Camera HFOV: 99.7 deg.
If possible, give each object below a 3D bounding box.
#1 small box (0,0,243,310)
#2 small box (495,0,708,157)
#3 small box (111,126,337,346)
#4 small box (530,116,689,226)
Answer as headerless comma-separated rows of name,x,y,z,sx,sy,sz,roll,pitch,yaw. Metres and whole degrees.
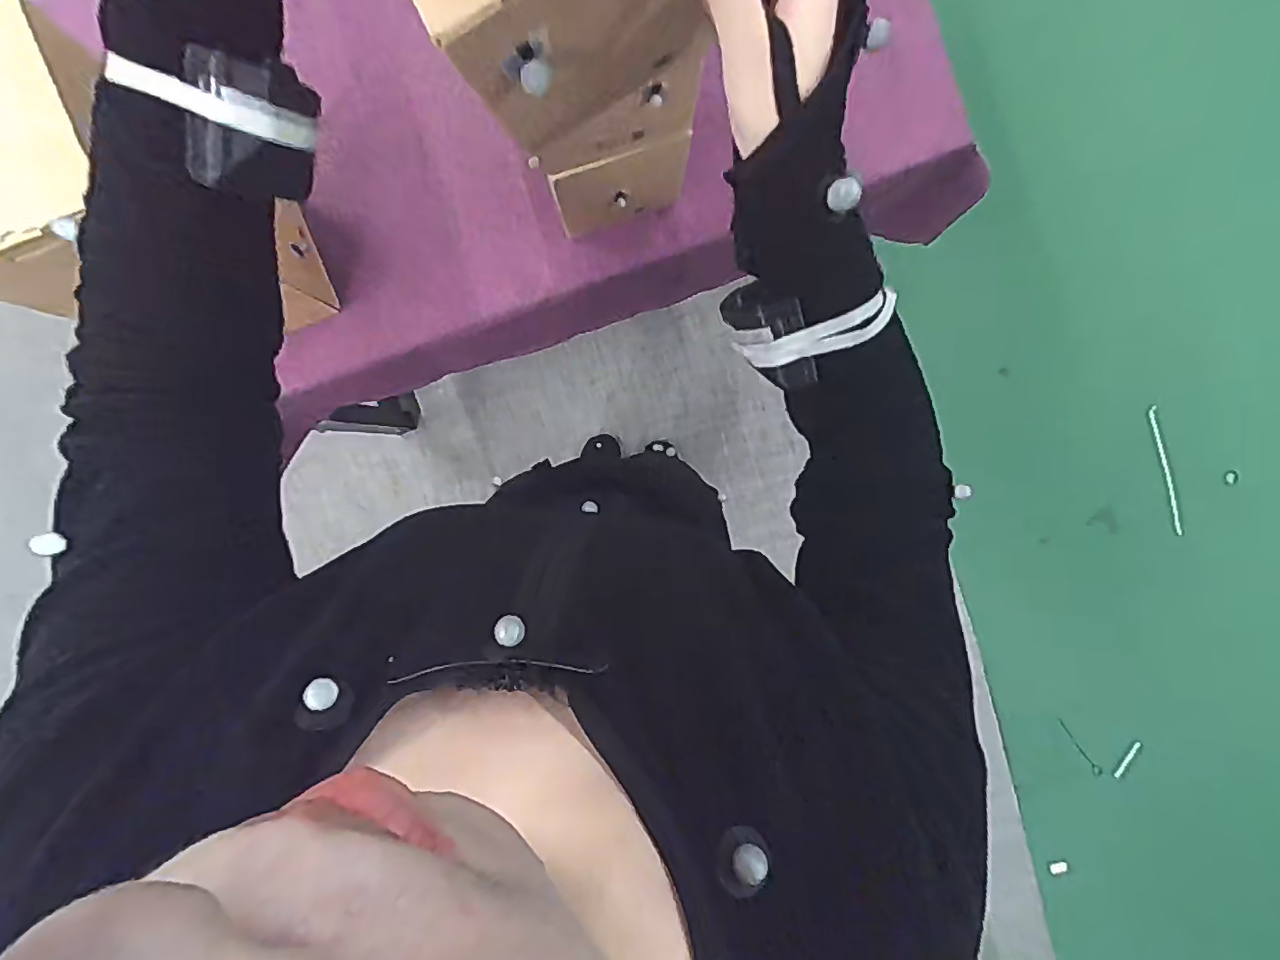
small box,-0.528,-0.276,0.507,0.168,0.176,0.179,-21,93,-1
small box,-0.044,-0.435,0.503,0.168,0.176,0.179,-16,92,0
small box,-0.524,-0.283,0.671,0.179,0.176,0.168,-21,93,-1
small box,-0.046,-0.440,0.667,0.168,0.176,0.179,-18,93,0
